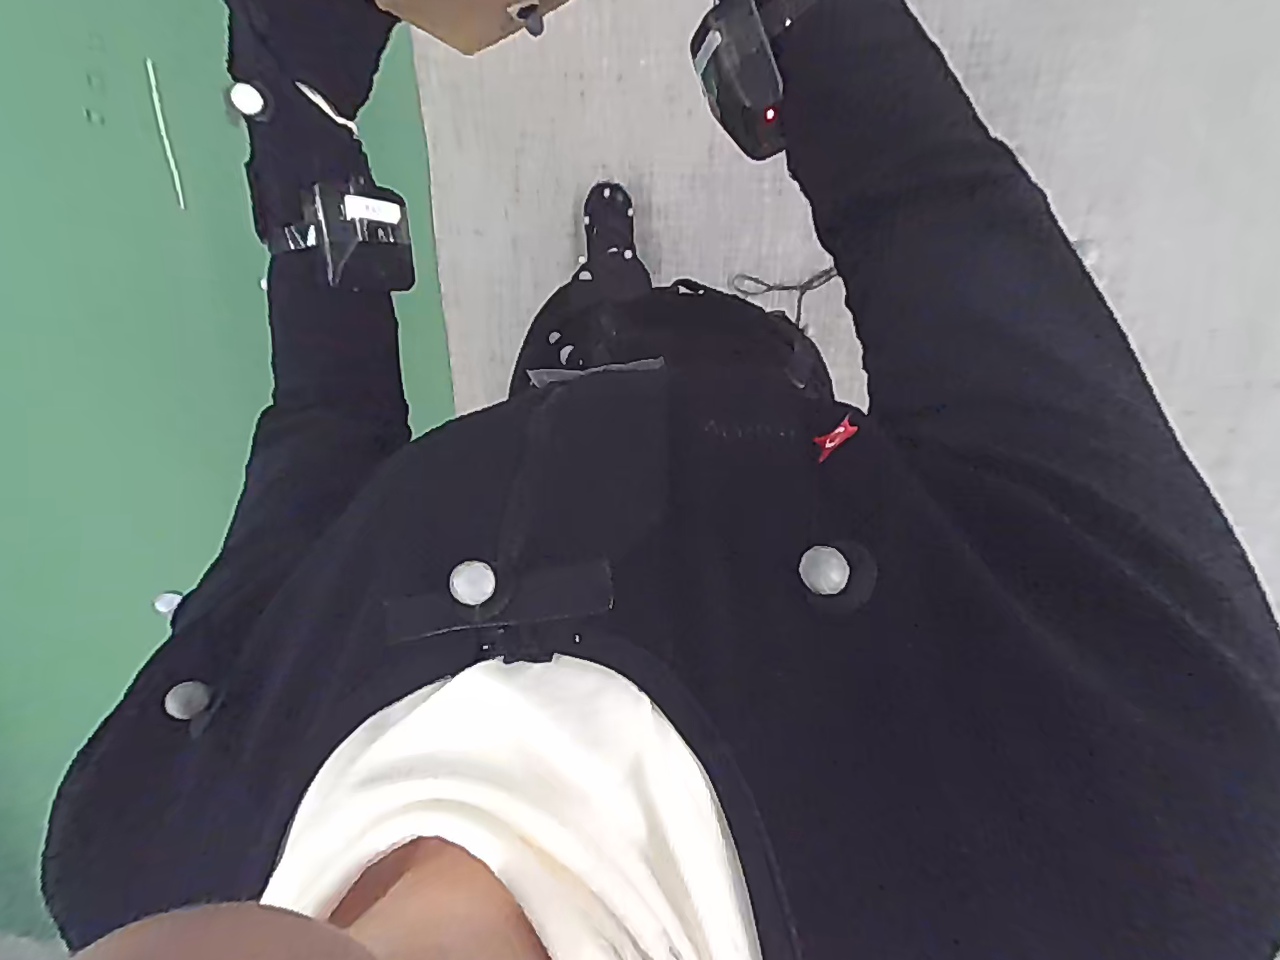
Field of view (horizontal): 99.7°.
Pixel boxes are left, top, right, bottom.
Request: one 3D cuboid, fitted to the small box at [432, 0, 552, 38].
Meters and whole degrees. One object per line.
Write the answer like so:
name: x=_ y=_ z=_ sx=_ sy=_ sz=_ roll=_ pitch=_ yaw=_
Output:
small box: x=-0.117 y=-0.454 z=0.368 sx=0.168 sy=0.176 sz=0.179 roll=-17 pitch=115 yaw=16
